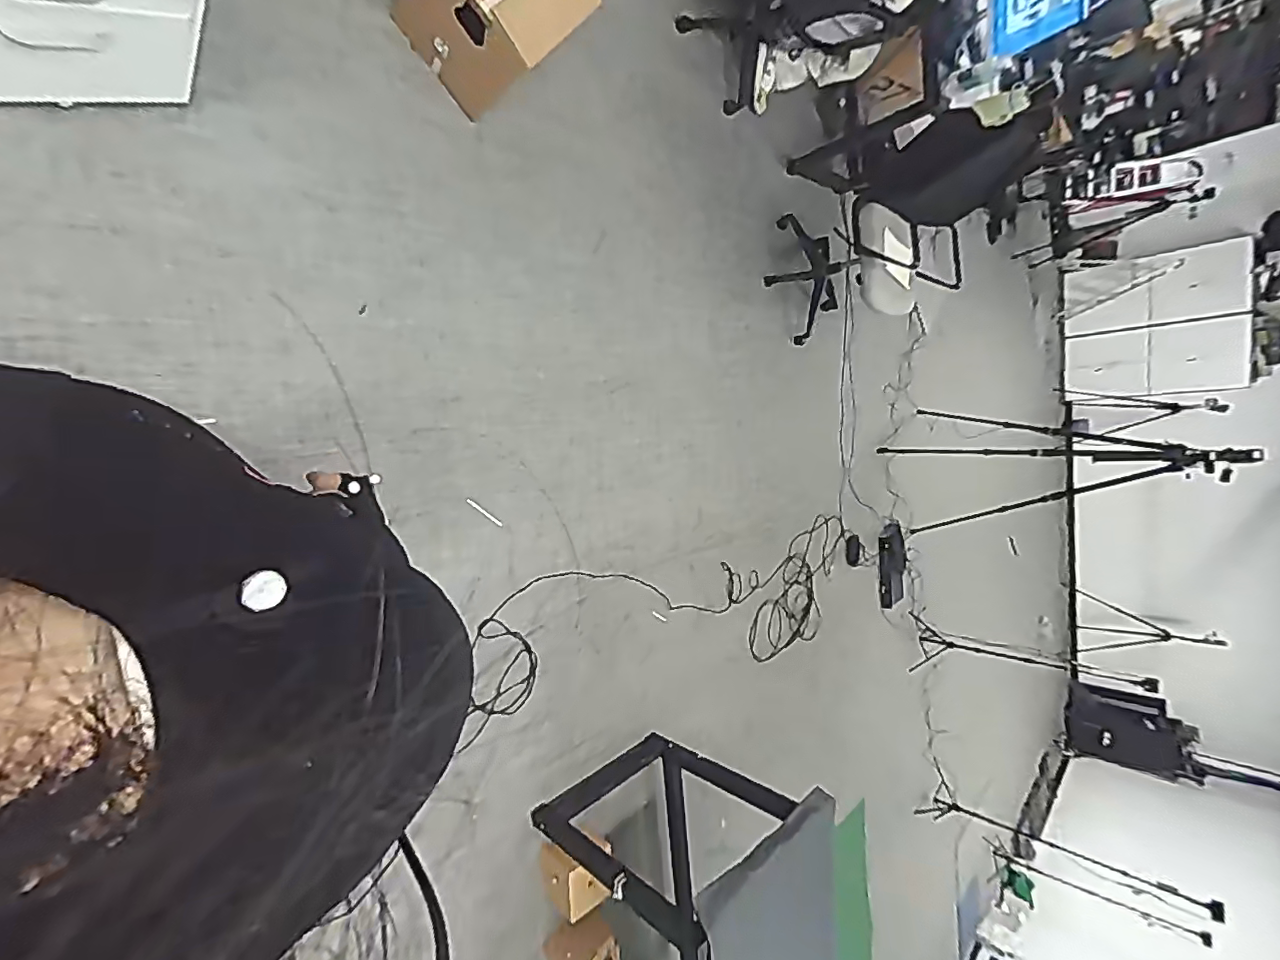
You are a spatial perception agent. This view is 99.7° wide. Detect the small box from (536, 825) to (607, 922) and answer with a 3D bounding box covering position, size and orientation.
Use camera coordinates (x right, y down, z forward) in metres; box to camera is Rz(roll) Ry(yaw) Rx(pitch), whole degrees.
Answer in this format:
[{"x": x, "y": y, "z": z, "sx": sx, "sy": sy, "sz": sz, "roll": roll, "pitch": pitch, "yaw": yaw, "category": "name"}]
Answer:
[{"x": -0.233, "y": 1.299, "z": 1.798, "sx": 0.179, "sy": 0.176, "sz": 0.168, "roll": -5, "pitch": 93, "yaw": -44, "category": "small box"}]
